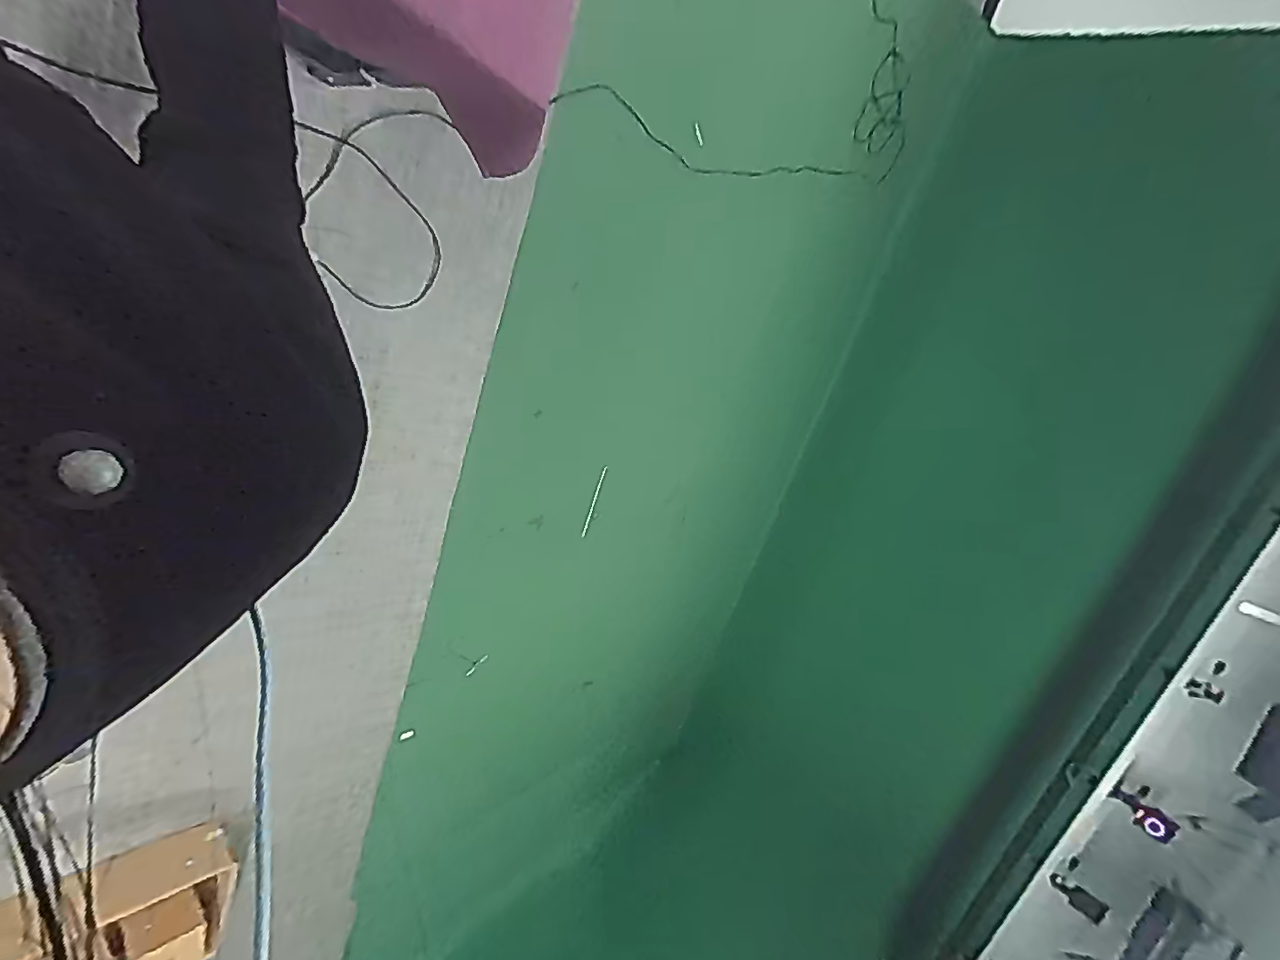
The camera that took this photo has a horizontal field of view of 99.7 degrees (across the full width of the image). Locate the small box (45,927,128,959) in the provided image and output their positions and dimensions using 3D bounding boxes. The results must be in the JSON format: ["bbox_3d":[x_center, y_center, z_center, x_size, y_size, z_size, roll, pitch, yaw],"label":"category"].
[{"bbox_3d":[-1.523,1.395,1.477,0.168,0.176,0.179,1,112,-54],"label":"small box"}]
